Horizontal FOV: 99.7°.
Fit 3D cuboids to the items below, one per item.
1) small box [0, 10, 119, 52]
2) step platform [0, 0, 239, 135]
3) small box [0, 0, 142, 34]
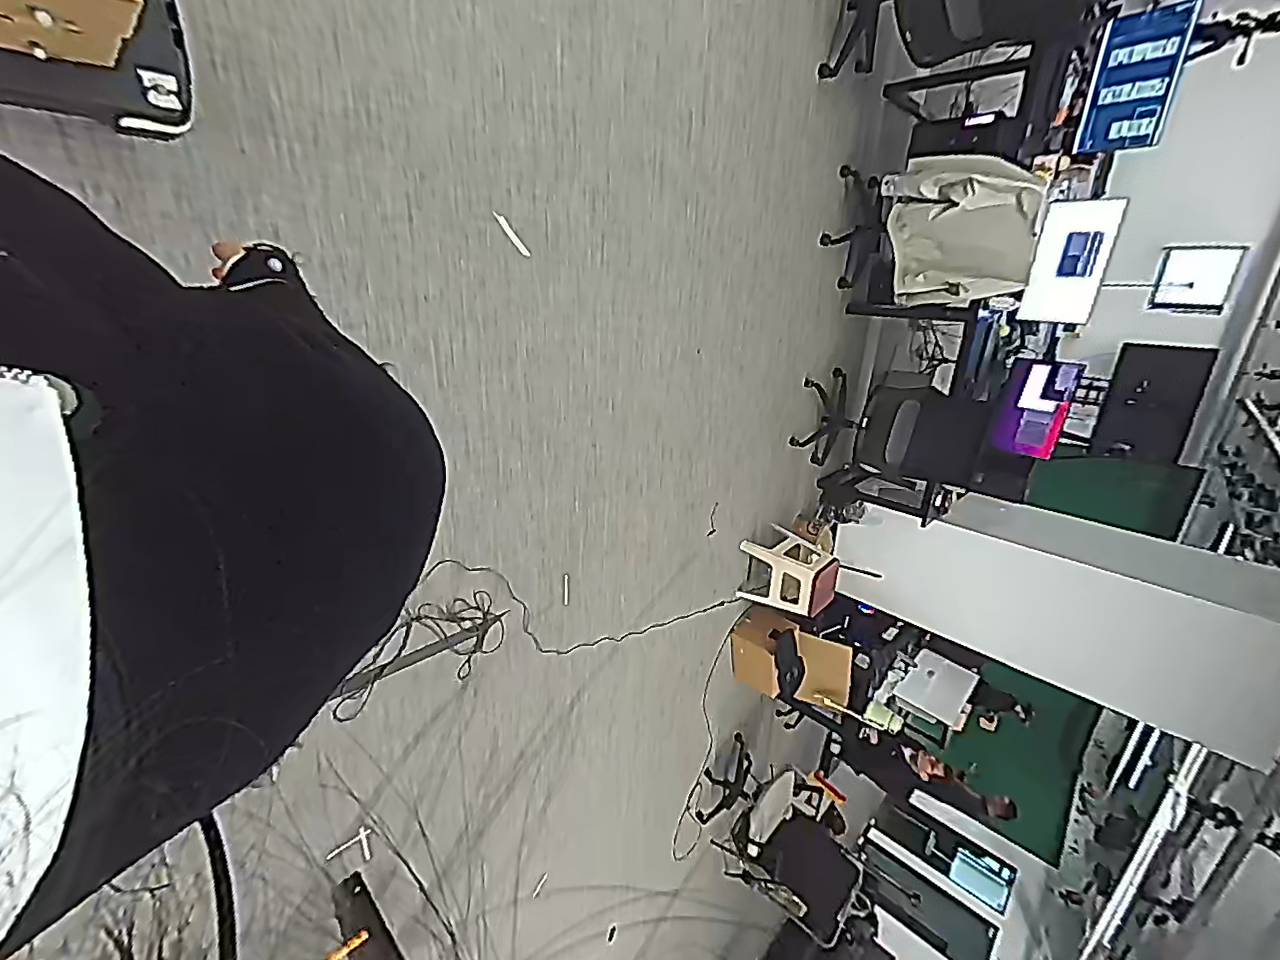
[{"bbox_3d":[-0.838,-0.695,0.718,0.168,0.176,0.179,-20,120,-42],"label":"small box"},{"bbox_3d":[-0.904,-0.618,0.620,0.684,0.204,0.286,-20,119,-43],"label":"step platform"},{"bbox_3d":[-0.713,-0.656,0.617,0.168,0.176,0.179,-21,121,-41],"label":"small box"}]
